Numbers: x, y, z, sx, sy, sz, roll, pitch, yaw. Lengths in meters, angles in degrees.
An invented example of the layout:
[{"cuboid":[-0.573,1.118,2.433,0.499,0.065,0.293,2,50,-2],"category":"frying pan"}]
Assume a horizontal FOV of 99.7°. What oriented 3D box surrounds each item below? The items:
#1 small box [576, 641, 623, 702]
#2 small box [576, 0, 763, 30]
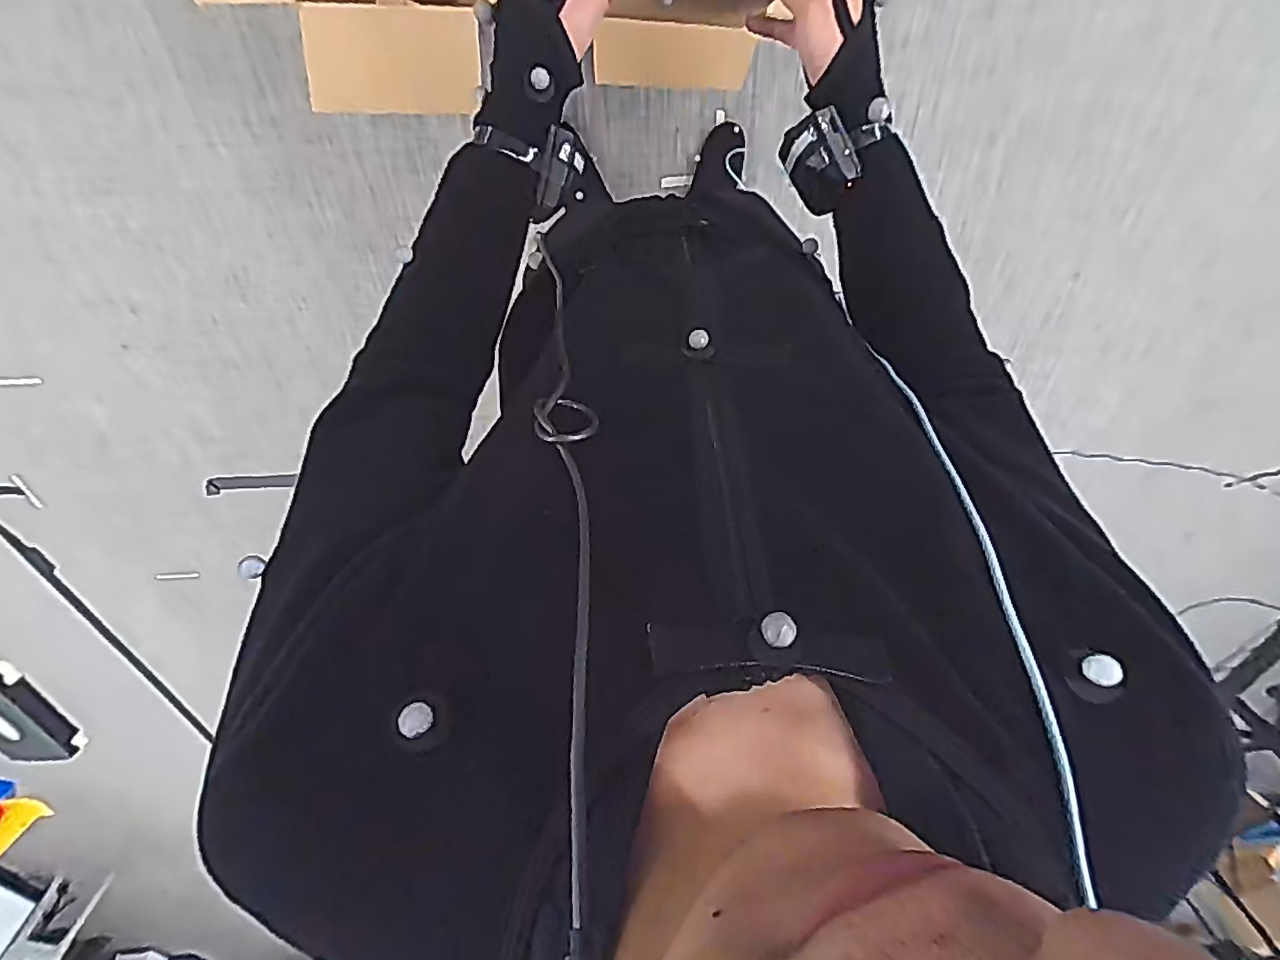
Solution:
[{"cuboid":[-0.160,0.775,2.192,0.179,0.176,0.168,-4,127,0],"category":"small box"},{"cuboid":[0.033,-0.491,0.438,0.179,0.176,0.168,-1,120,-7],"category":"small box"}]
